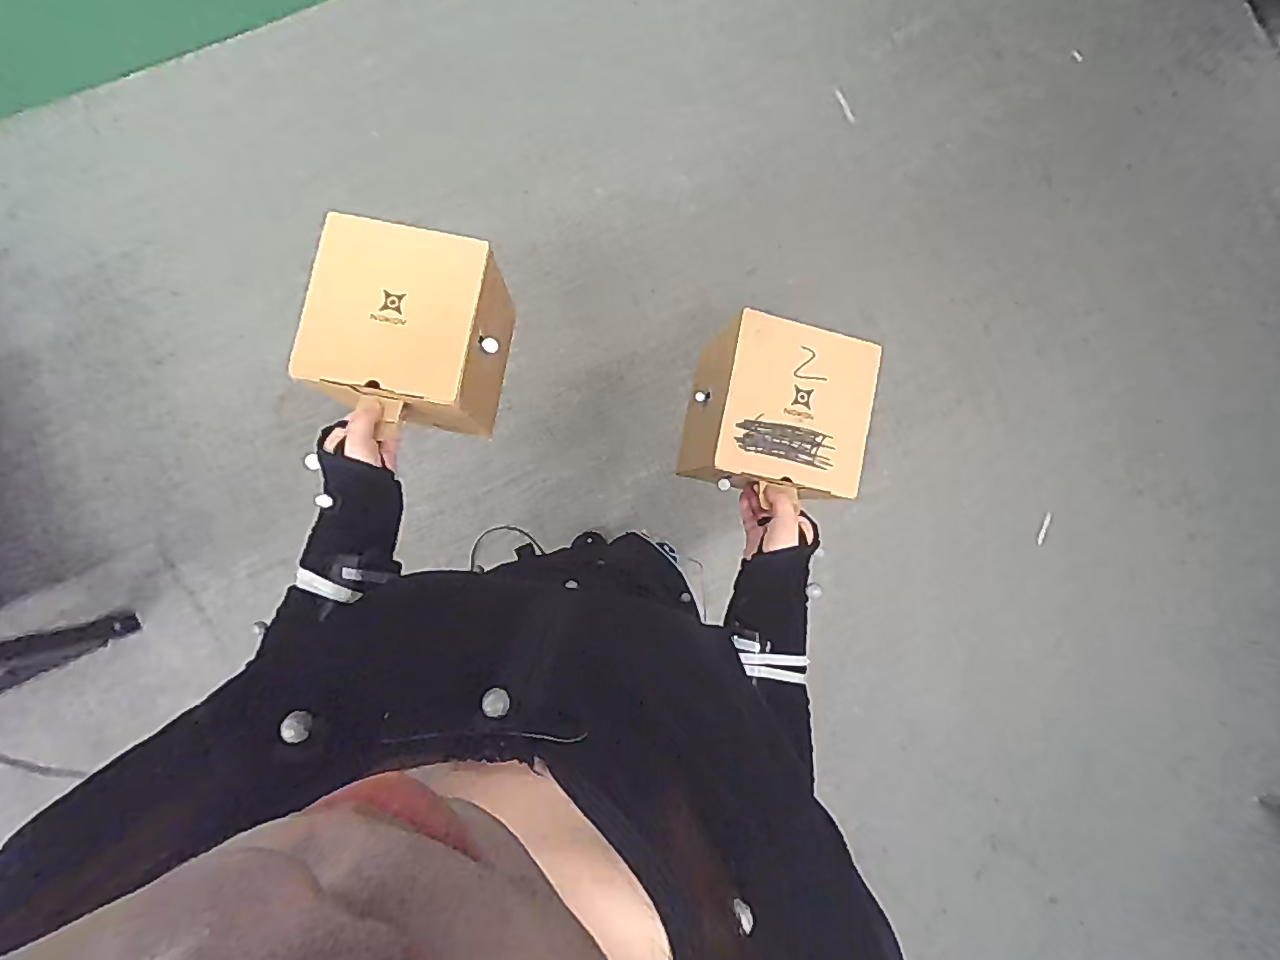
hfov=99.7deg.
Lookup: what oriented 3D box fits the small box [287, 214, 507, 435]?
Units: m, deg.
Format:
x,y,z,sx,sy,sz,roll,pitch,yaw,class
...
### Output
x,y,z,sx,sy,sz,roll,pitch,yaw,class
-0.255,-0.161,0.616,0.168,0.176,0.179,9,84,-3,small box
